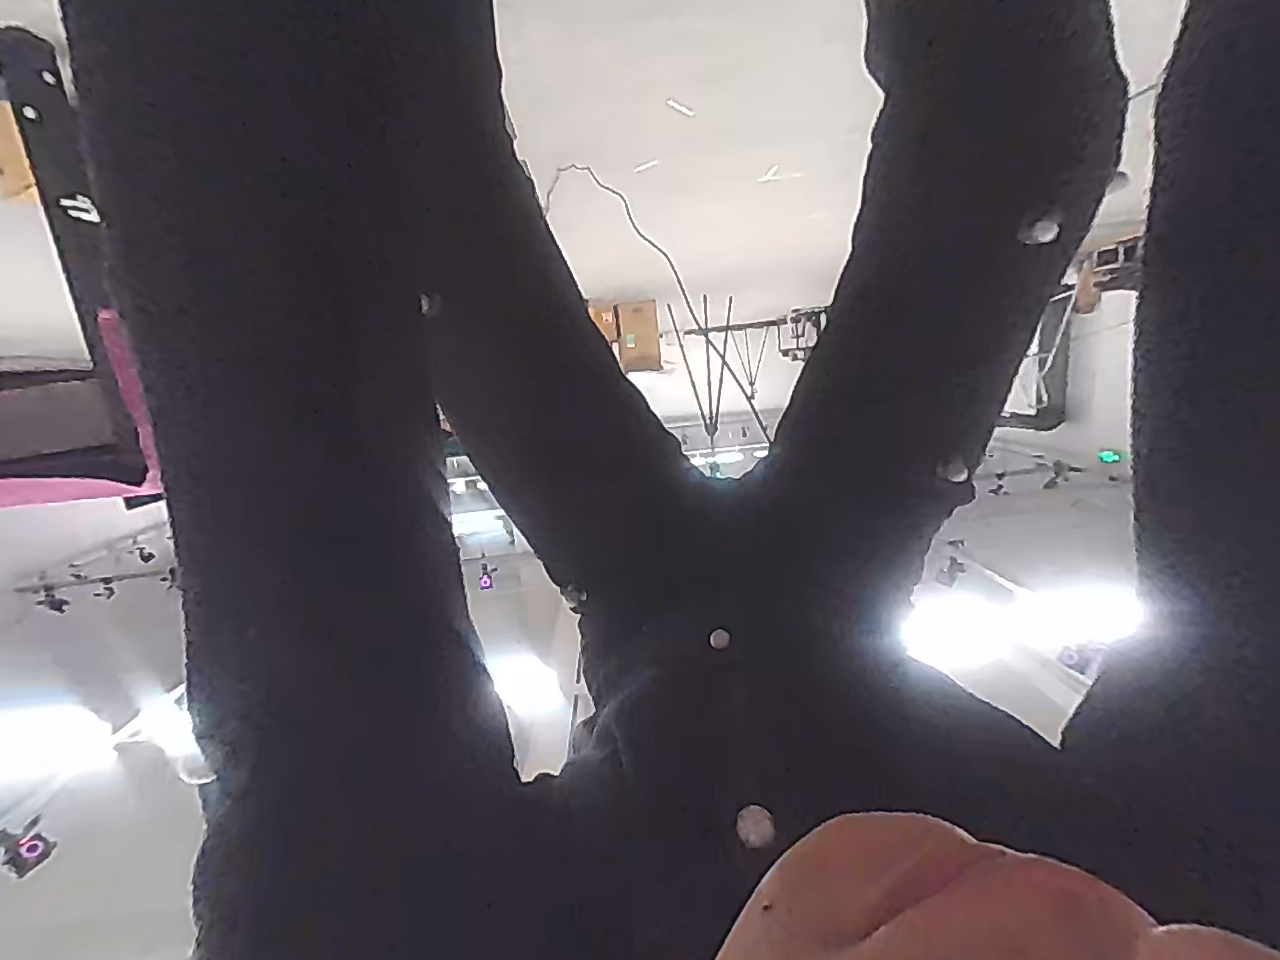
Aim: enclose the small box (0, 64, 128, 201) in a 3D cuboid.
[{"bbox_3d":[-1.161,-0.664,1.050,0.179,0.176,0.168,1,-164,26],"label":"small box"}]
